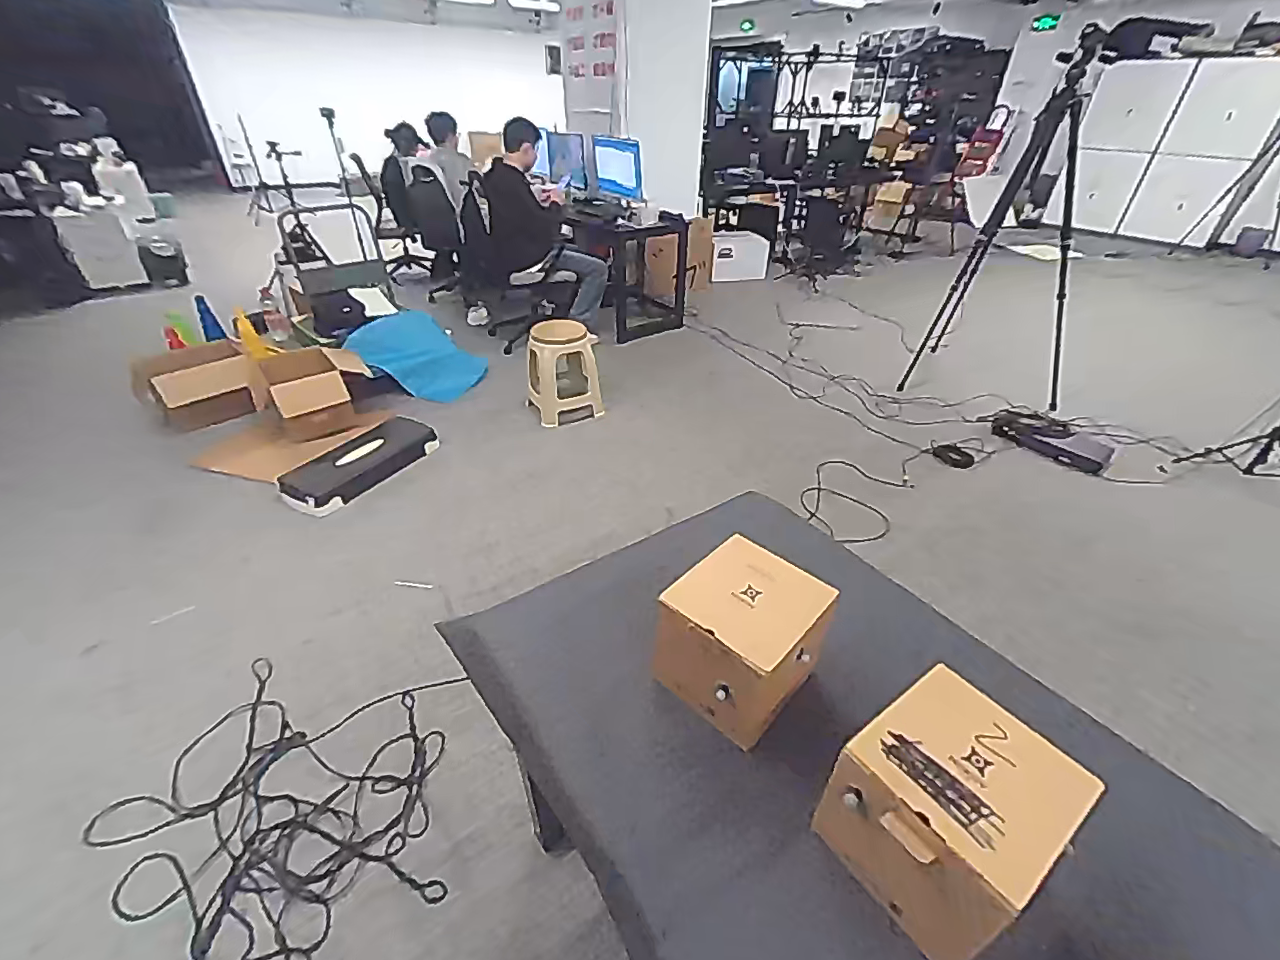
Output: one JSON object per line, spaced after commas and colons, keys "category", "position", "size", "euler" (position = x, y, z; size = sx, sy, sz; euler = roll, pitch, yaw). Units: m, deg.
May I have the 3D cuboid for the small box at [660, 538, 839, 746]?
{"category": "small box", "position": [0.142, 0.216, 0.737], "size": [0.168, 0.176, 0.179], "euler": [30, 43, 33]}
